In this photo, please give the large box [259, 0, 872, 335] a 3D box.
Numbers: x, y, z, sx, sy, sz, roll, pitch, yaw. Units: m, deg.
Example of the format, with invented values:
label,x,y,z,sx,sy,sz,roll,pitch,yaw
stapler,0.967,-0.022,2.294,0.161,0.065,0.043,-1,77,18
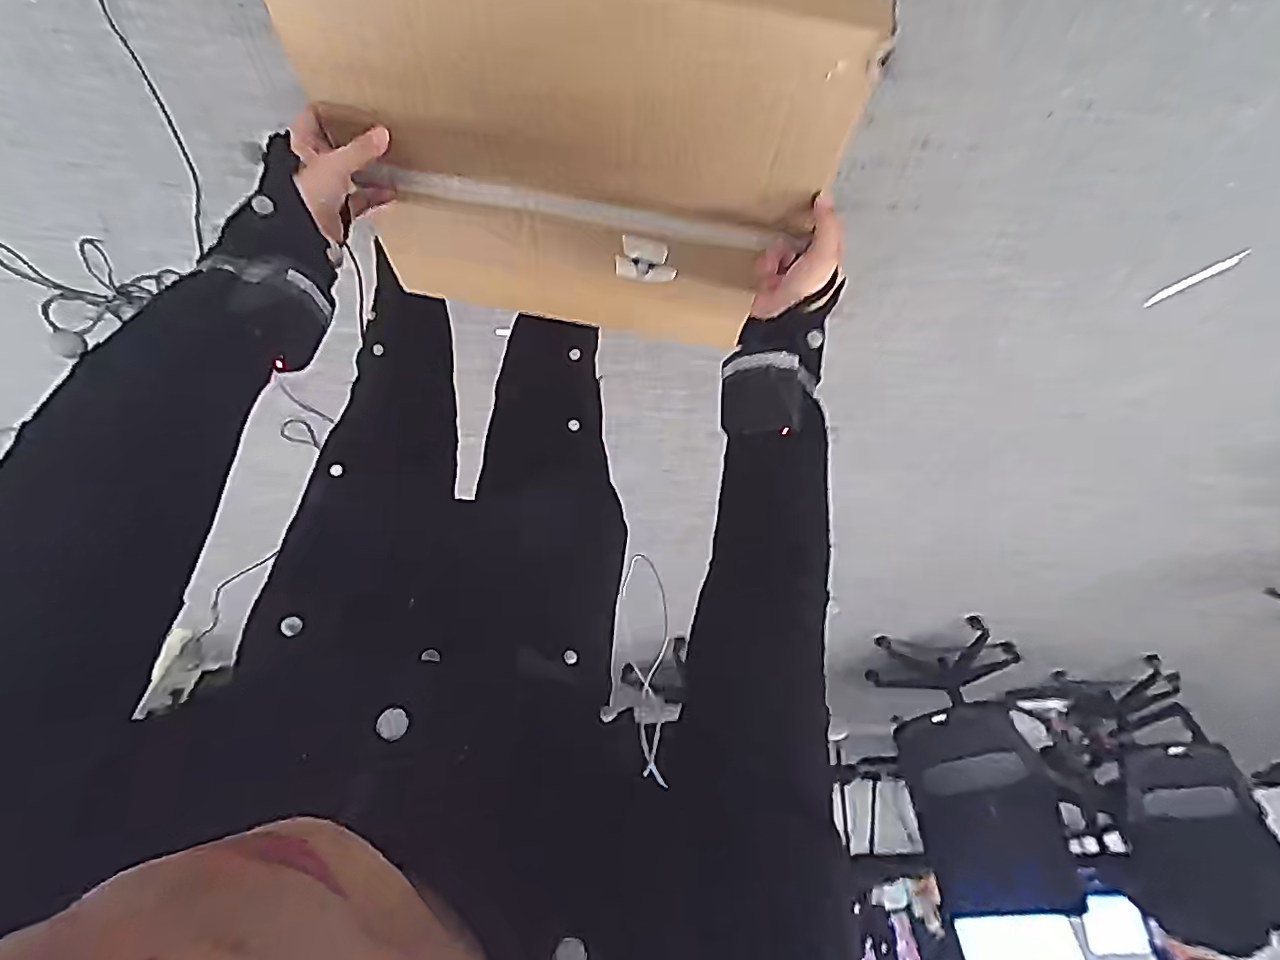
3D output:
label,x,y,z,sx,sy,sz,roll,pitch,yaw
large box,-0.043,-0.382,0.517,0.408,0.320,0.320,9,158,1
